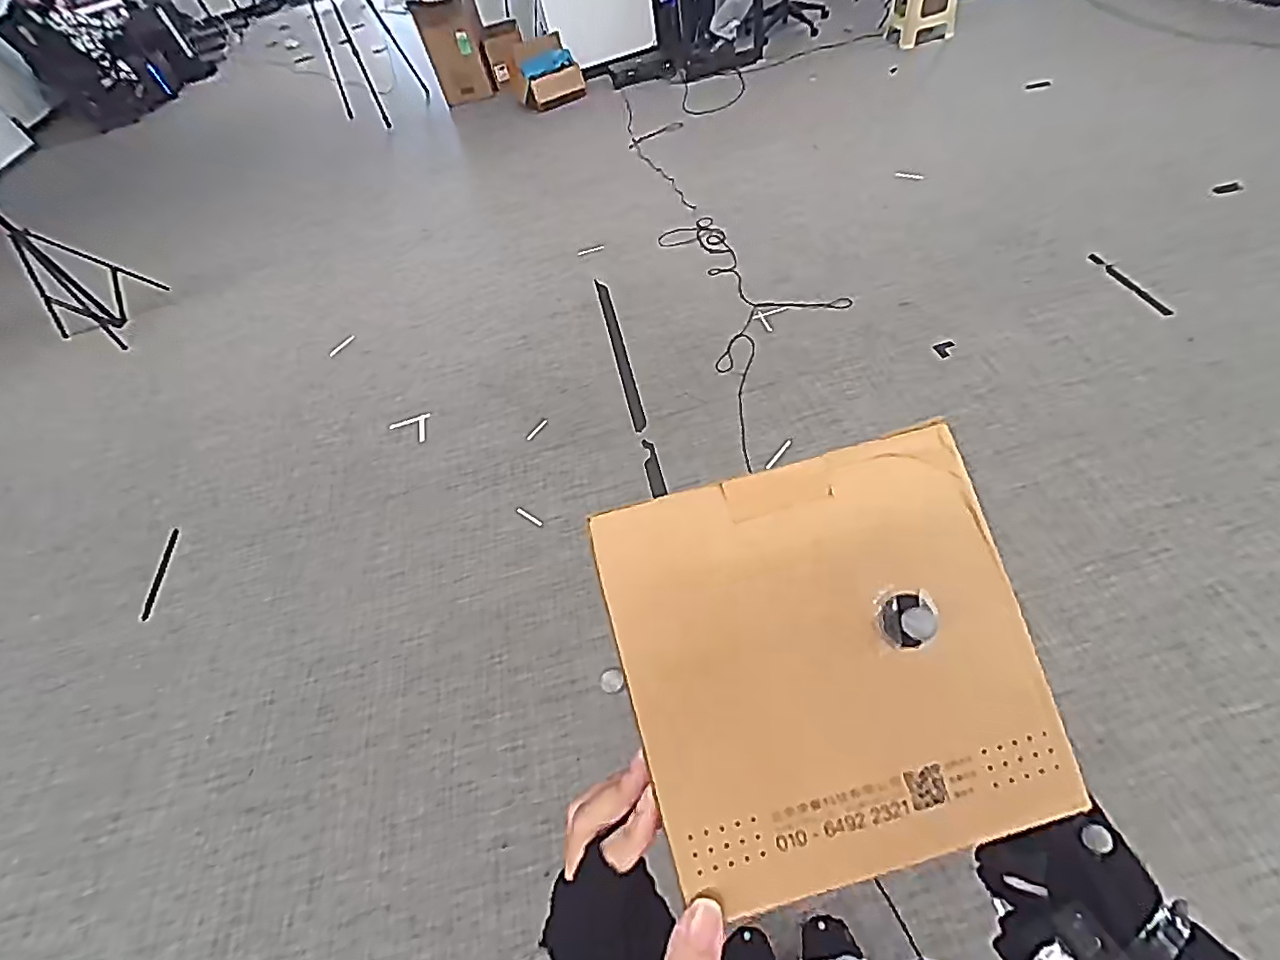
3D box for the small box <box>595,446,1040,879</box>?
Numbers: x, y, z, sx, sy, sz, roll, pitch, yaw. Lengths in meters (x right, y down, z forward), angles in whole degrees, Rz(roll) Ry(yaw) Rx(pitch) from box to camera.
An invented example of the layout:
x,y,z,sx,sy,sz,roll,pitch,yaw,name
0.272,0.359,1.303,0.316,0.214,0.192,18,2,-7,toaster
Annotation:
x,y,z,sx,sy,sz,roll,pitch,yaw,name
0.081,0.097,0.319,0.168,0.179,0.176,-15,81,-1,small box
